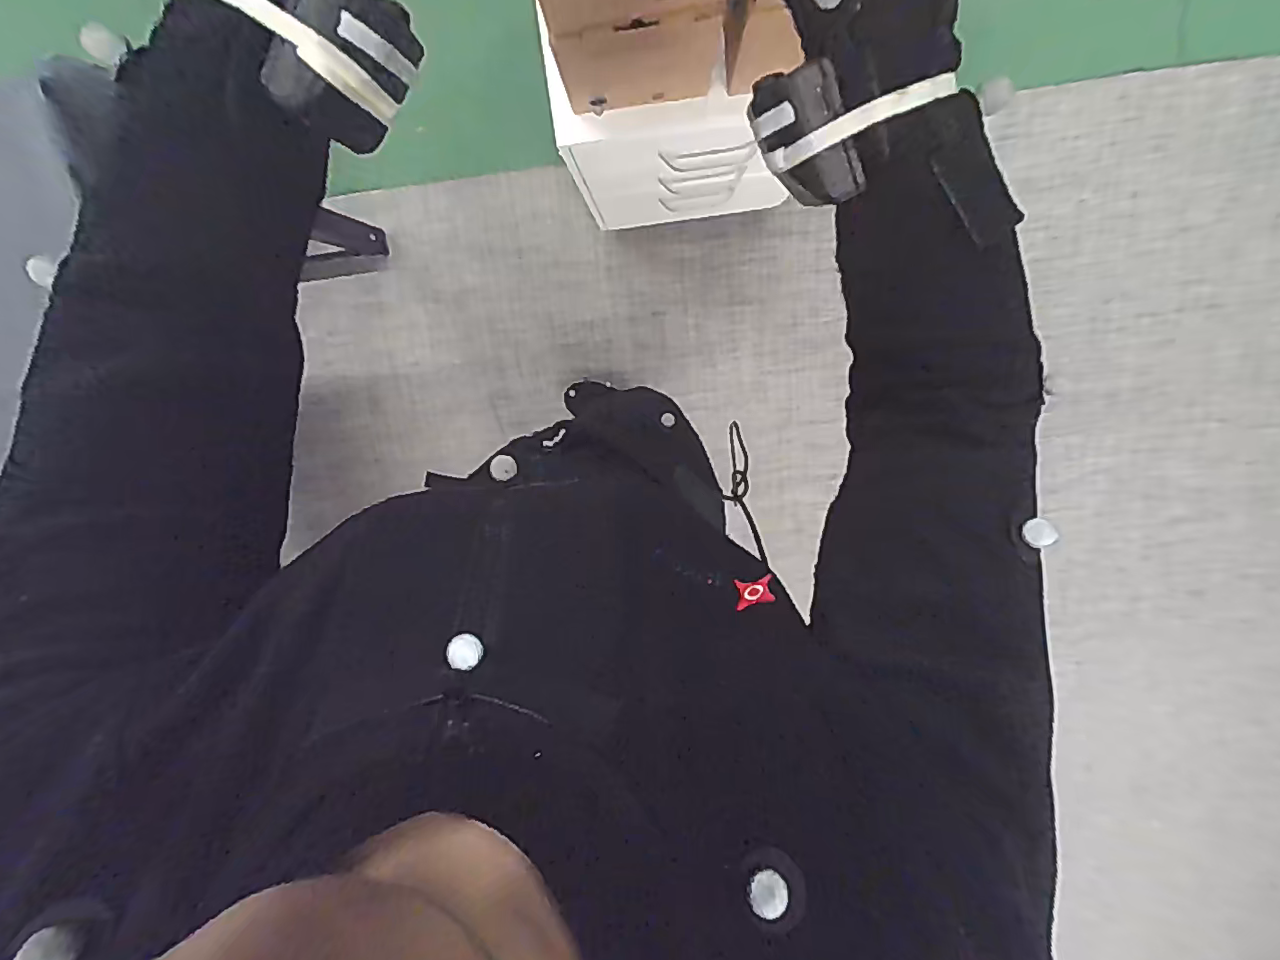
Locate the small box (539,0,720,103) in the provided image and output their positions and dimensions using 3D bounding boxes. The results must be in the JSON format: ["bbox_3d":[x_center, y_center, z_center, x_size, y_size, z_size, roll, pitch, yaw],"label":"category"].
[{"bbox_3d":[-0.014,-0.513,0.549,0.168,0.176,0.179,-6,104,2],"label":"small box"}]
